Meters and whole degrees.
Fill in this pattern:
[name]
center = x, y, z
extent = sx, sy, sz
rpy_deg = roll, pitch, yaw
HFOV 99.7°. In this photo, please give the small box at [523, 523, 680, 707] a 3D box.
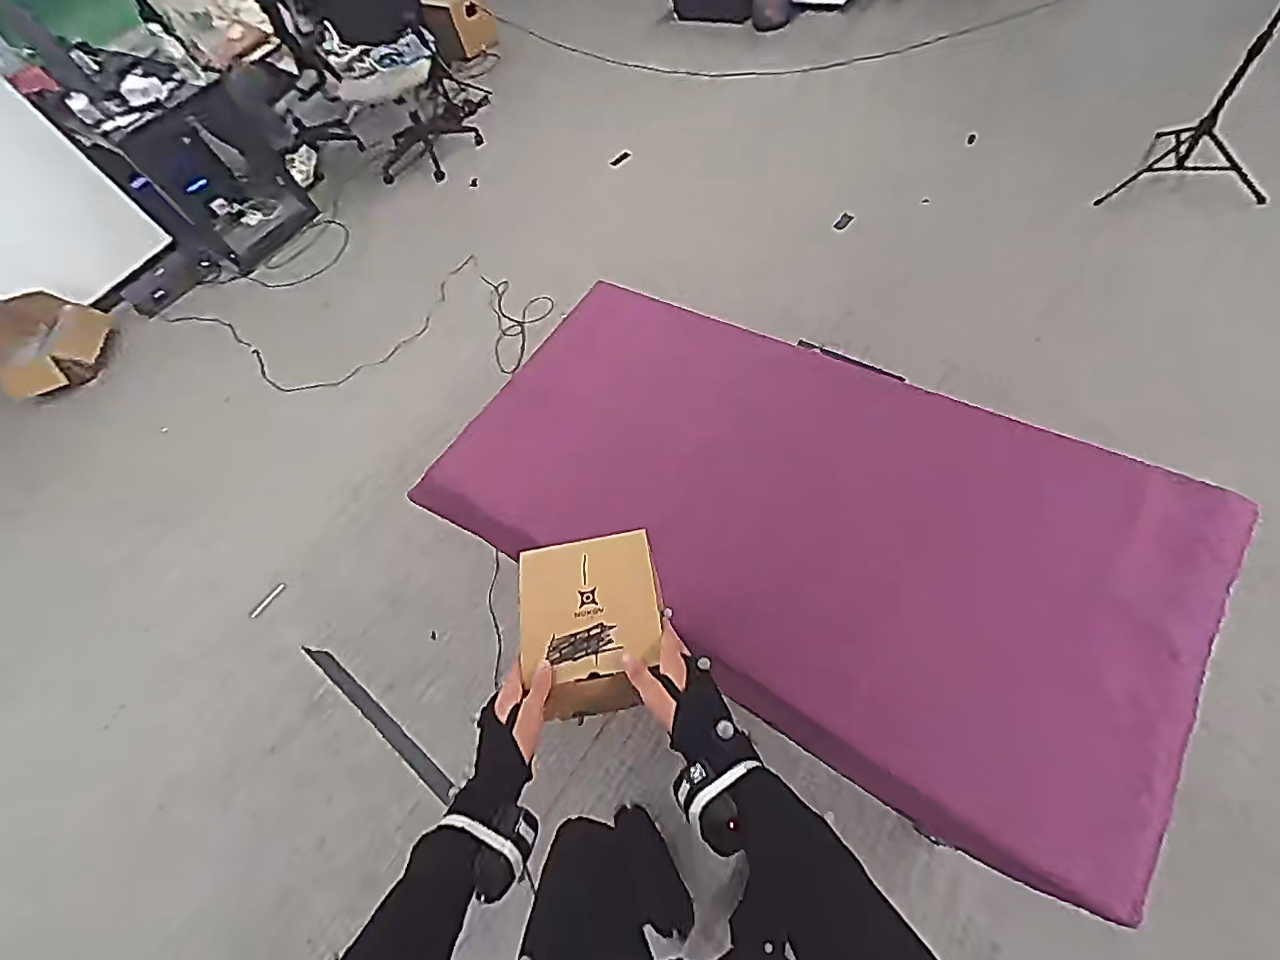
[small box]
center = -0.046, 0.183, 0.698
extent = 0.168, 0.176, 0.179
rpy_deg = -10, 55, 2
